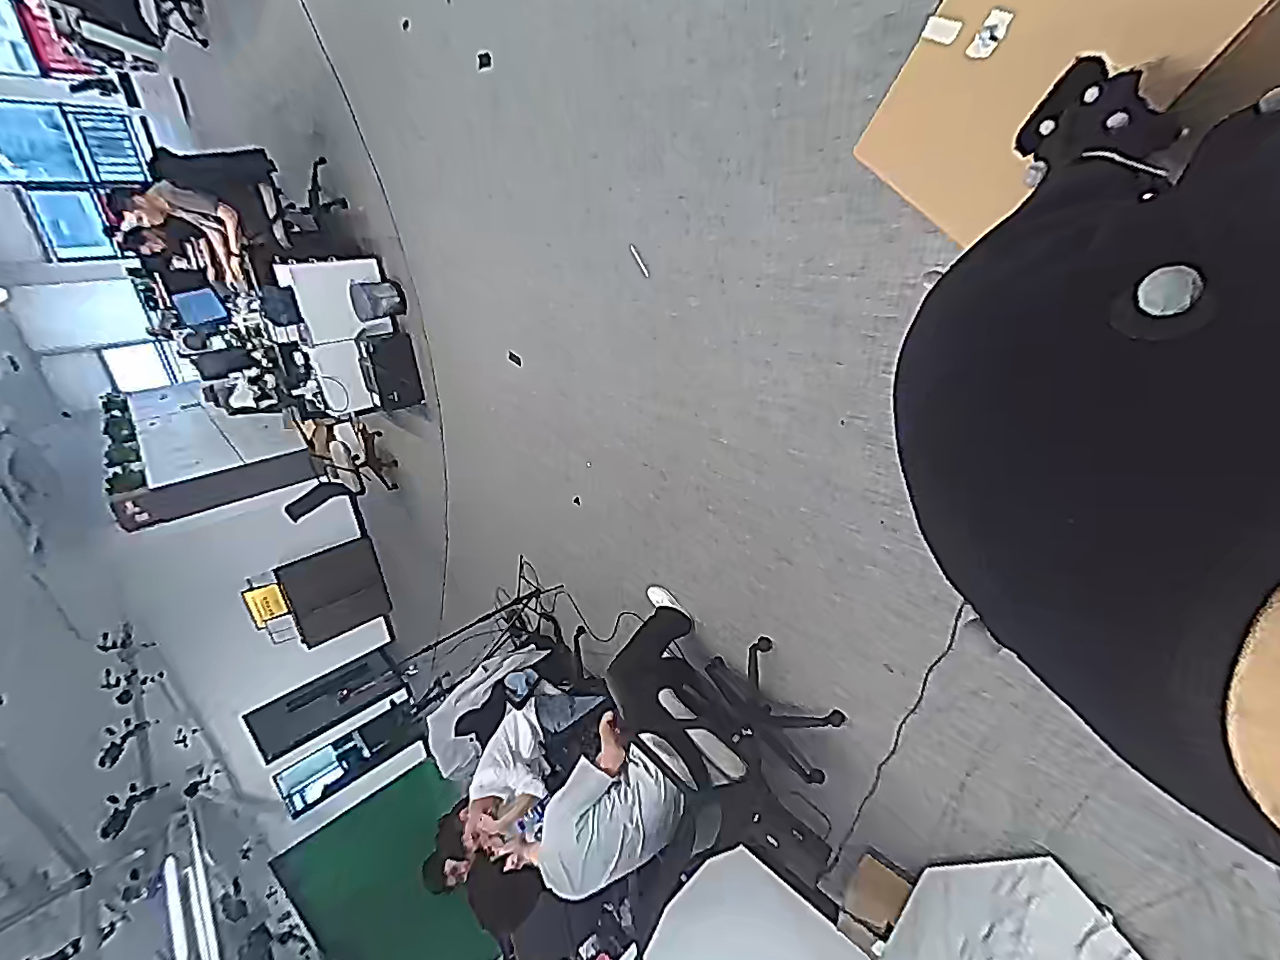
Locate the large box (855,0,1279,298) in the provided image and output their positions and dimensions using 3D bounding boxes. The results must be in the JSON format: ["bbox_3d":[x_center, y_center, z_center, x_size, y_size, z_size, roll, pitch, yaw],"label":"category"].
[{"bbox_3d":[0.591,-0.472,0.728,0.320,0.408,0.320,63,145,27],"label":"large box"}]
